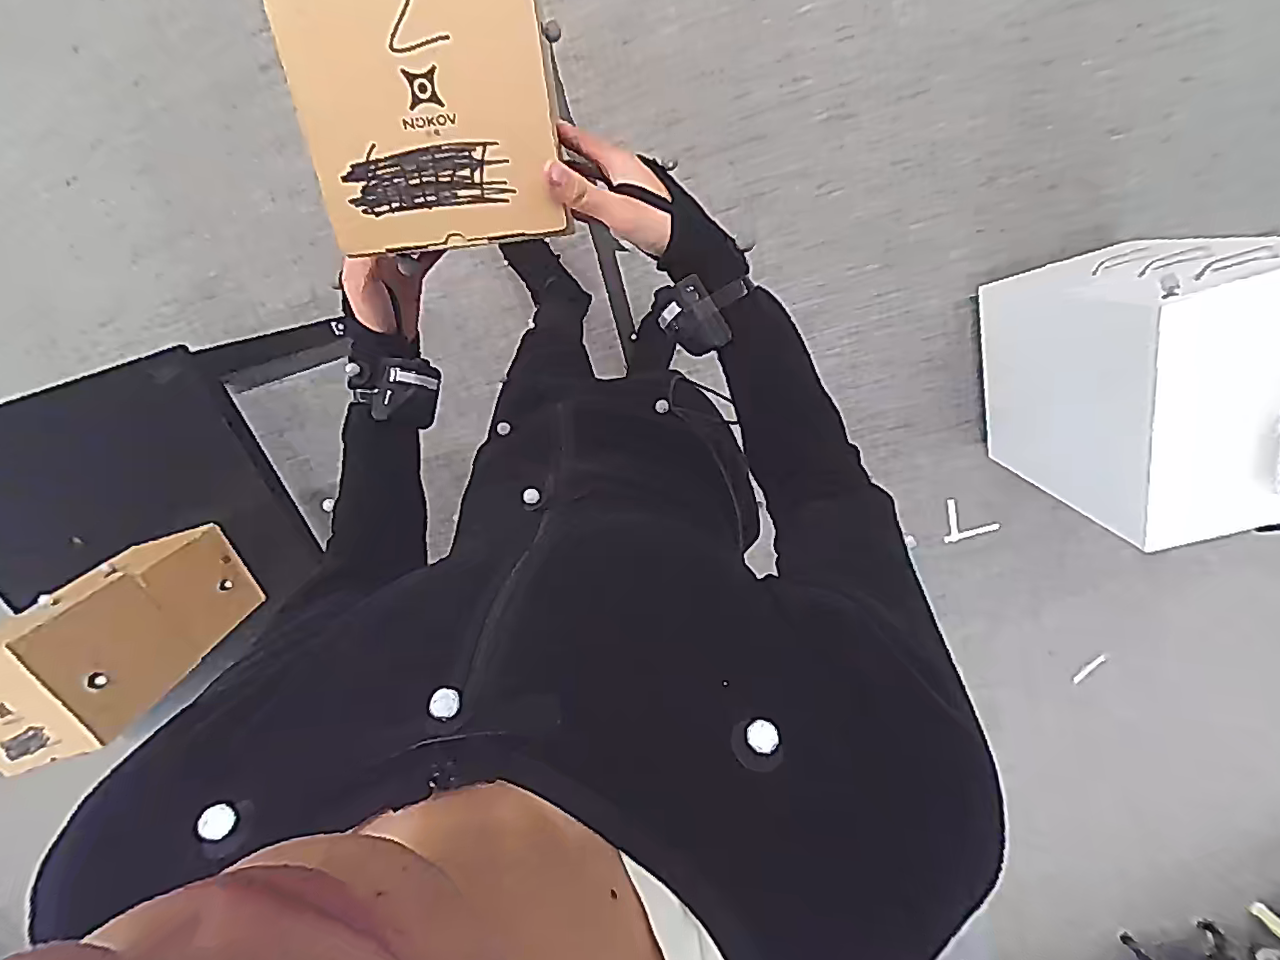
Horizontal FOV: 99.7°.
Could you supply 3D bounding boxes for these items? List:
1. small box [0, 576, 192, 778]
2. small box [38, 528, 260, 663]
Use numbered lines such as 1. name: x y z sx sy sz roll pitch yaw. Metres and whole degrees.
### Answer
1. small box: -0.788 0.264 0.745 0.168 0.176 0.179 -18 111 8
2. small box: -0.793 0.202 0.897 0.179 0.176 0.168 -15 112 7
